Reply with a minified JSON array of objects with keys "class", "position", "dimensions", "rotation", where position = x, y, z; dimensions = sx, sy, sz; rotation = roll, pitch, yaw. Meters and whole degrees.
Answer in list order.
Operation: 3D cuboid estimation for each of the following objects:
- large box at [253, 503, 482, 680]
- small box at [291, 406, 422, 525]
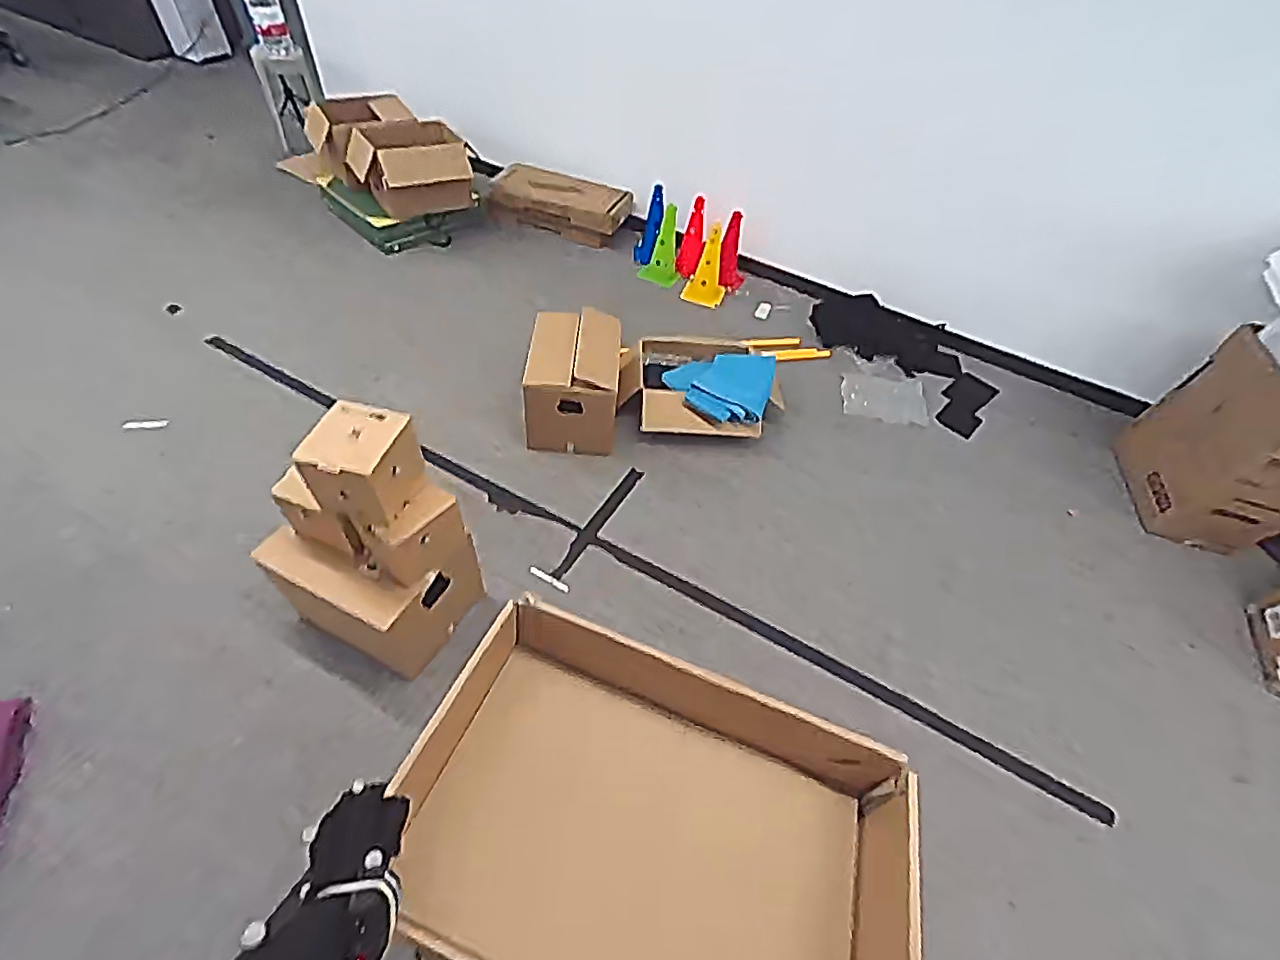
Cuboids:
[{"class":"large box","position":[-0.688,0.263,1.436],"dimensions":[0.408,0.320,0.320],"rotation":[23,52,10]},{"class":"small box","position":[-0.591,-0.027,1.159],"dimensions":[0.168,0.176,0.179],"rotation":[13,50,3]}]
